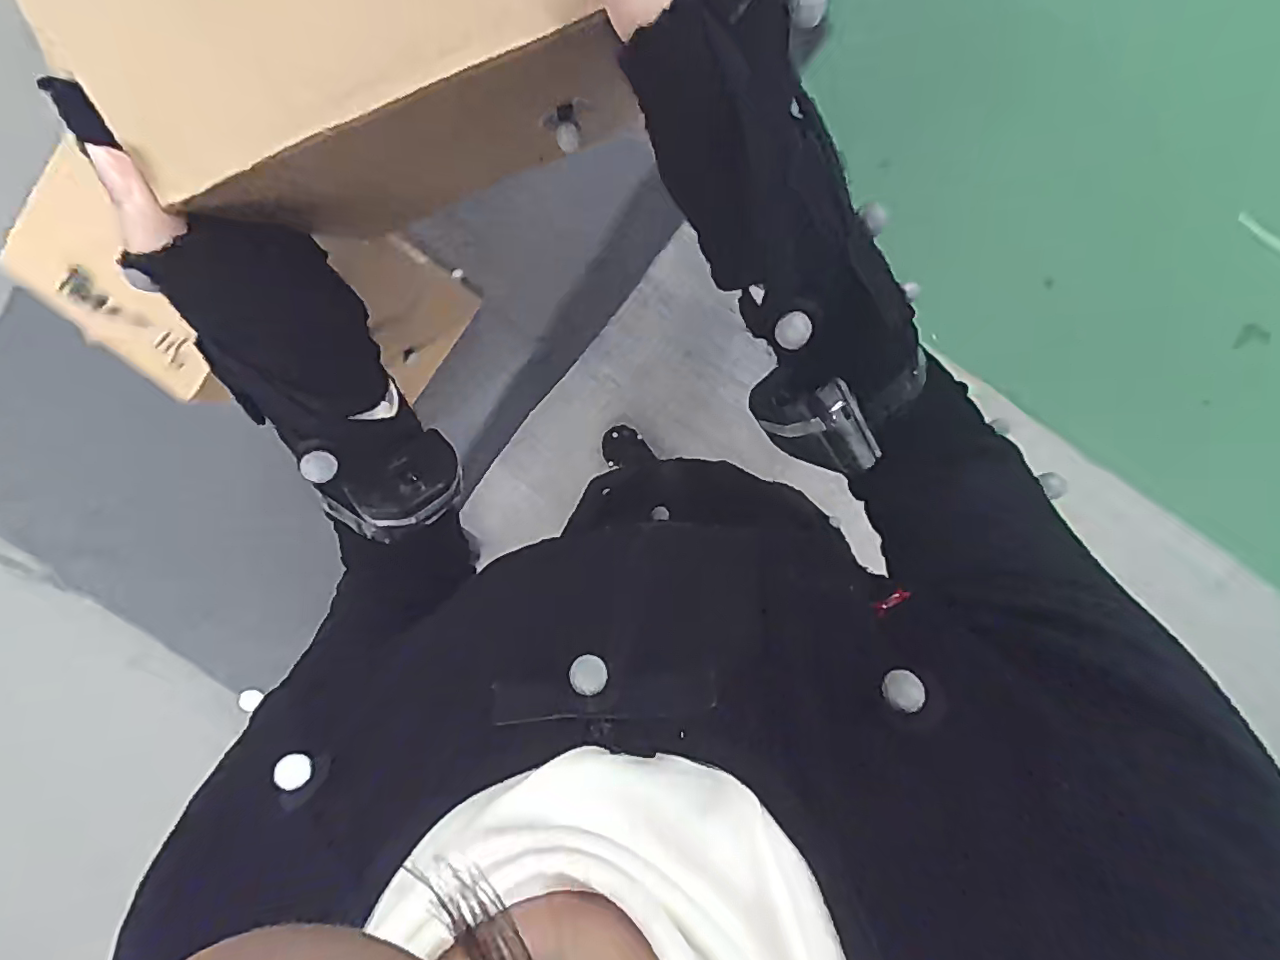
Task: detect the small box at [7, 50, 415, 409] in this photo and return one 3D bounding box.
[{"bbox_3d":[-0.318,-0.178,0.447,0.168,0.176,0.179,37,94,0],"label":"small box"}]

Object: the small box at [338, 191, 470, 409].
[{"bbox_3d":[-0.316,-0.197,0.609,0.168,0.176,0.179,36,96,0],"label":"small box"}]
